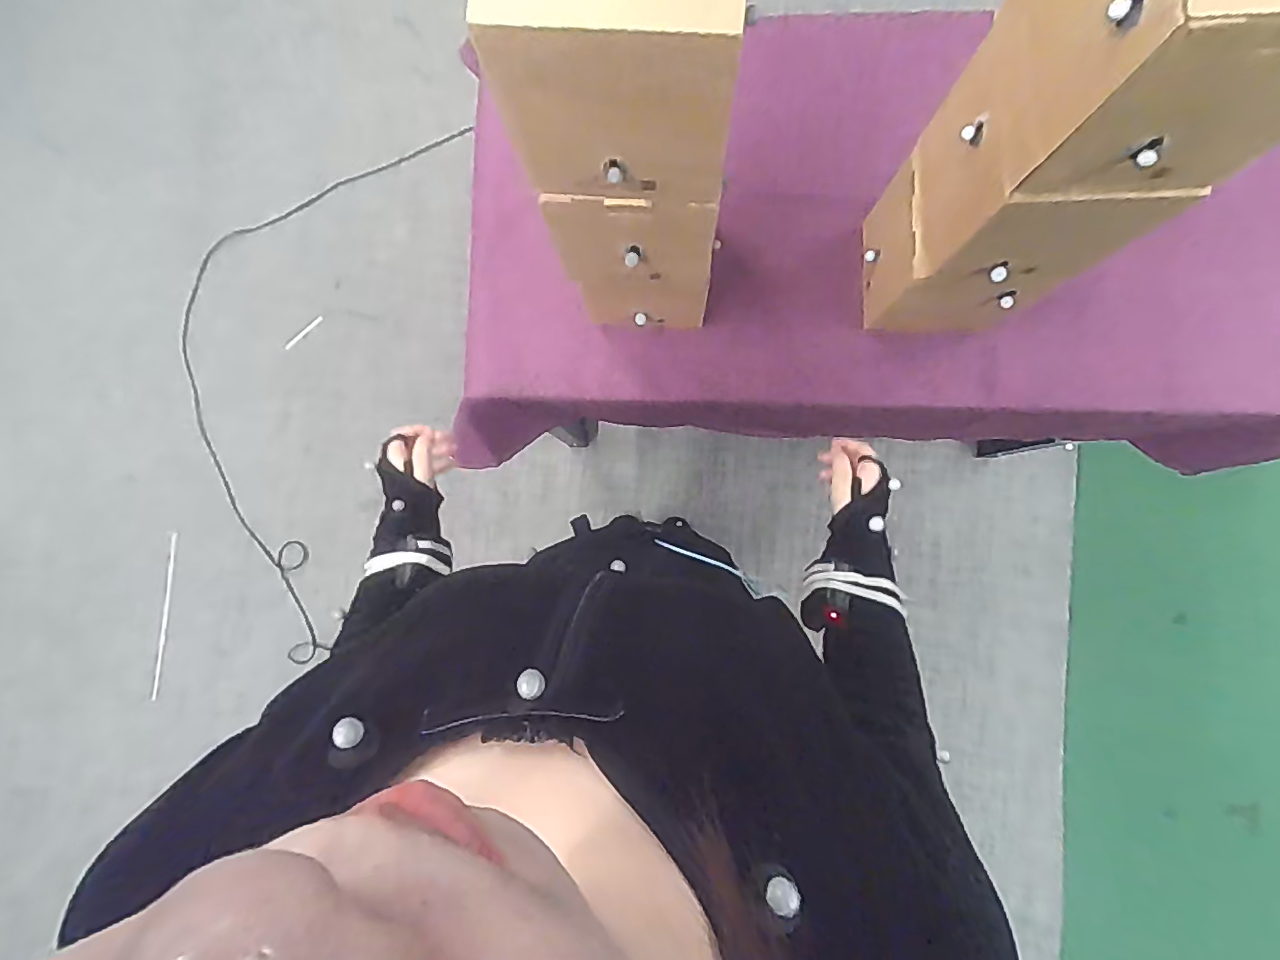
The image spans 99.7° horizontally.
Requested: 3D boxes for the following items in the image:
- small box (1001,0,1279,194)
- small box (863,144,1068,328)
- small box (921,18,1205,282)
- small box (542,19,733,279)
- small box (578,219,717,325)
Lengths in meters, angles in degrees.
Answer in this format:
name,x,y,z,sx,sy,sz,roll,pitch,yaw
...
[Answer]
name,x,y,z,sx,sy,sz,roll,pitch,yaw
small box,0.390,-0.338,0.386,0.168,0.176,0.179,-2,87,4
small box,0.413,-0.308,0.709,0.179,0.176,0.168,2,86,4
small box,0.403,-0.321,0.547,0.168,0.176,0.179,1,87,4
small box,0.002,-0.330,0.570,0.168,0.176,0.179,4,87,3
small box,0.015,-0.327,0.733,0.168,0.176,0.179,3,87,4
